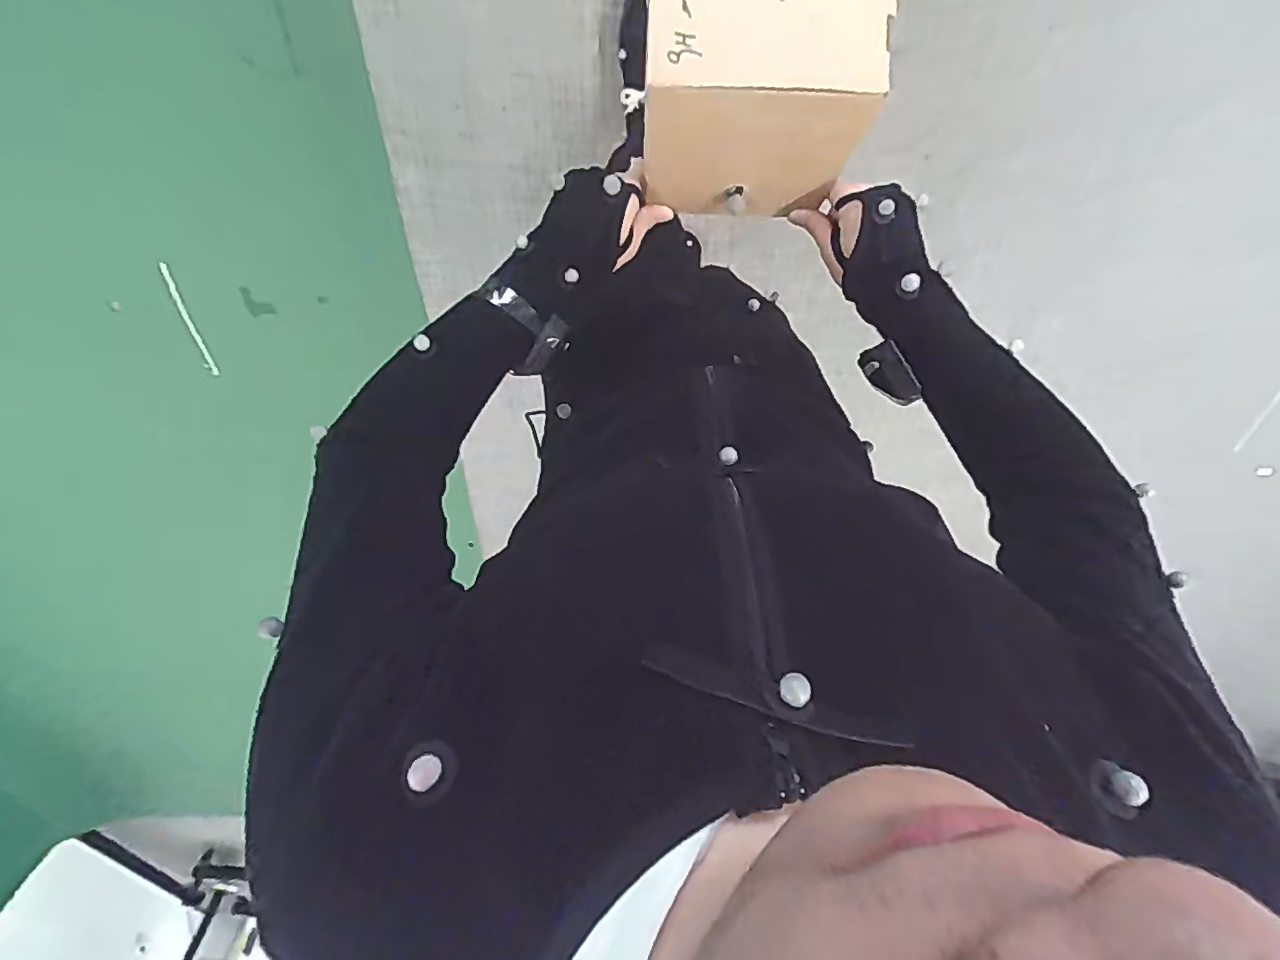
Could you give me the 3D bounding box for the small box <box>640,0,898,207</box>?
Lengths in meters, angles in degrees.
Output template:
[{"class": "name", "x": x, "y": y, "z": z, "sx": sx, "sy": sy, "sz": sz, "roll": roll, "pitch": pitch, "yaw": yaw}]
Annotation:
[{"class": "small box", "x": 0.093, "y": -0.357, "z": 0.461, "sx": 0.179, "sy": 0.176, "sz": 0.168, "roll": 2, "pitch": 86, "yaw": -1}]
